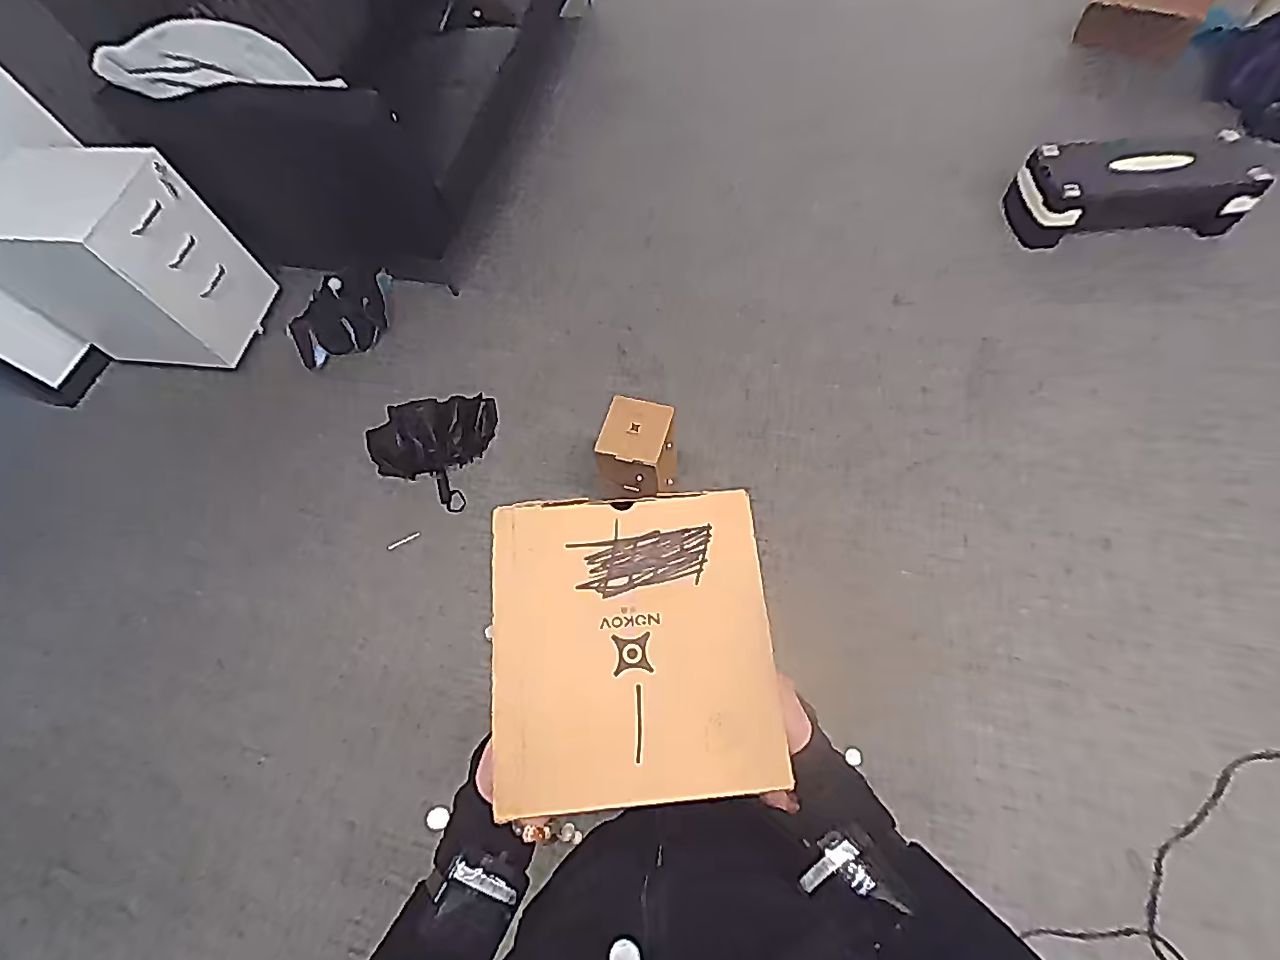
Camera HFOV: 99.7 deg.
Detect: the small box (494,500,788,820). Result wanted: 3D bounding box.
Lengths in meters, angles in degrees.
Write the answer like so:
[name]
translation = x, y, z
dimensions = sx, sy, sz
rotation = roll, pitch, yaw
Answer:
[small box]
translation = -0.007, 0.125, 0.399
dimensions = 0.168, 0.176, 0.179
rotation = -4, 71, -3
